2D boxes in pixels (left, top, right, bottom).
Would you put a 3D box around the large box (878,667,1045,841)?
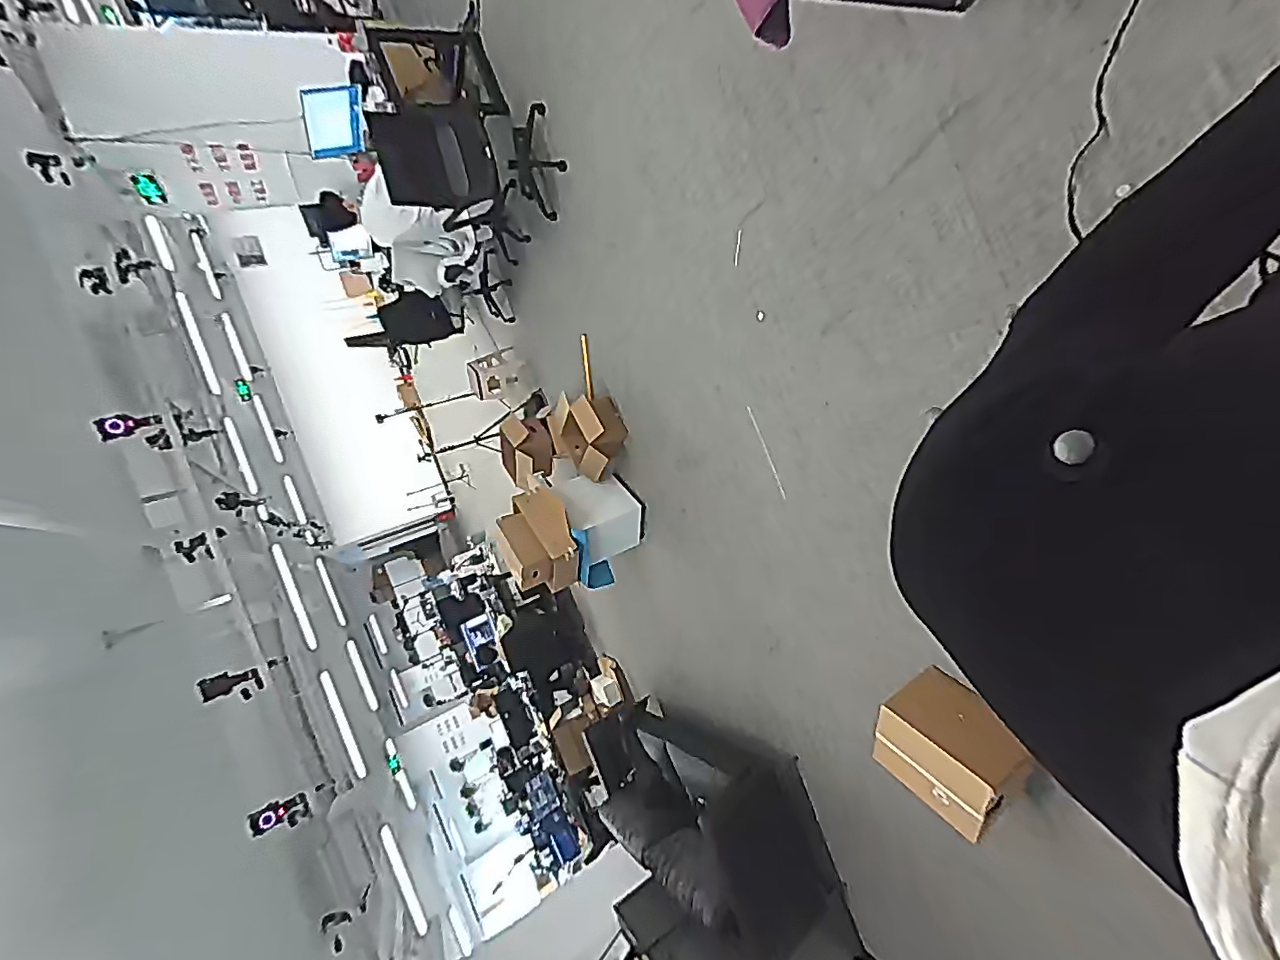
[{"bbox_3d":[1.147,0.971,1.968,0.408,0.320,0.320,32,137,50],"label":"large box"}]
